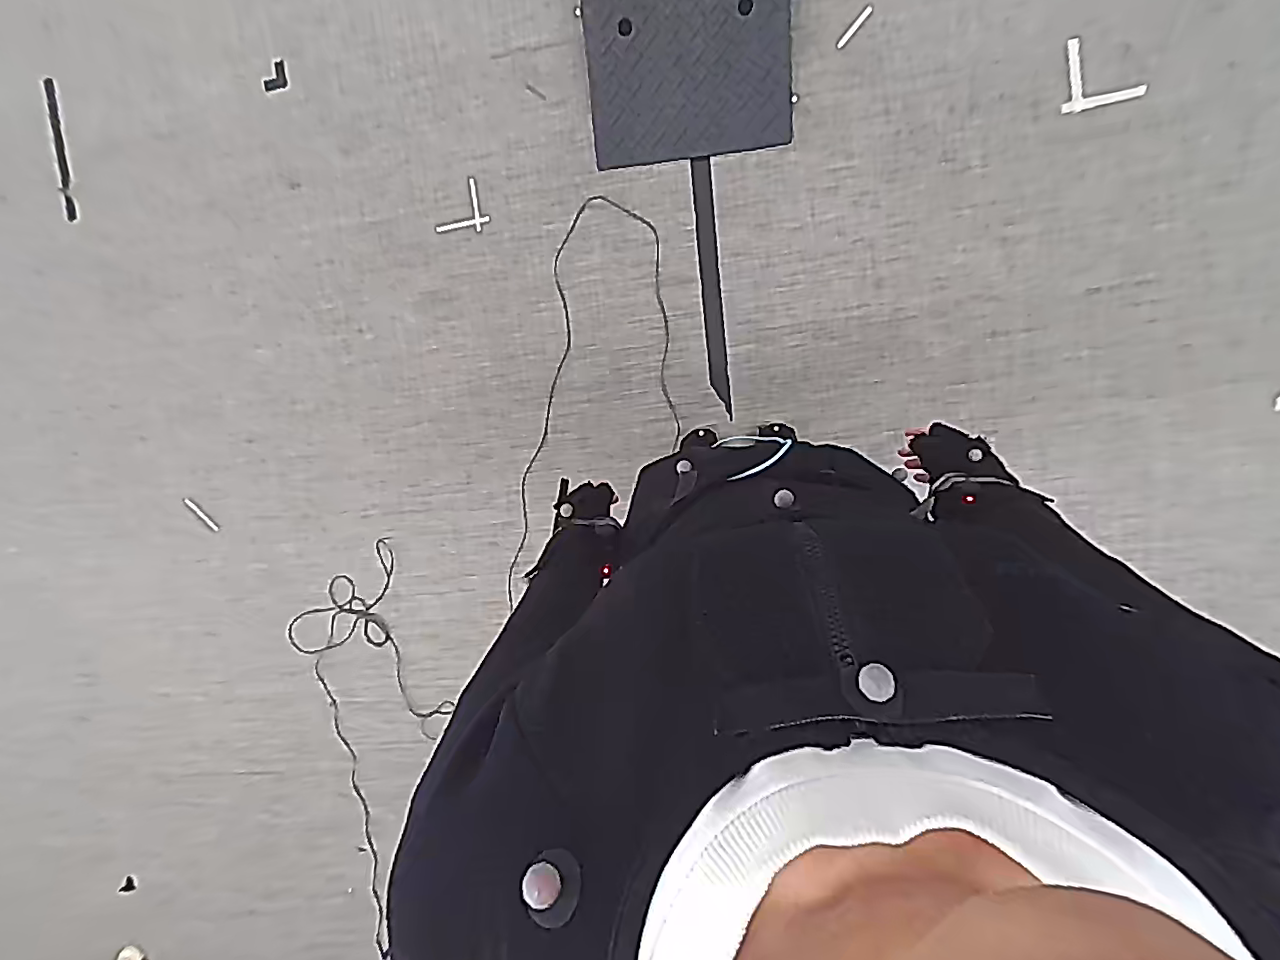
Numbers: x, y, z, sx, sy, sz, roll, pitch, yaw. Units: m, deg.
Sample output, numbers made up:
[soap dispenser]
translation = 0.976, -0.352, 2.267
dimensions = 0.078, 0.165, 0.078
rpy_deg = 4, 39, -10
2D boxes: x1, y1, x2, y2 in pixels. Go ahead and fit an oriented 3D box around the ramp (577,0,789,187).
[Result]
[ramp]
translation = 0.078, -1.270, 1.267
dimensions = 0.509, 0.206, 0.991
rpy_deg = -7, 94, 8
